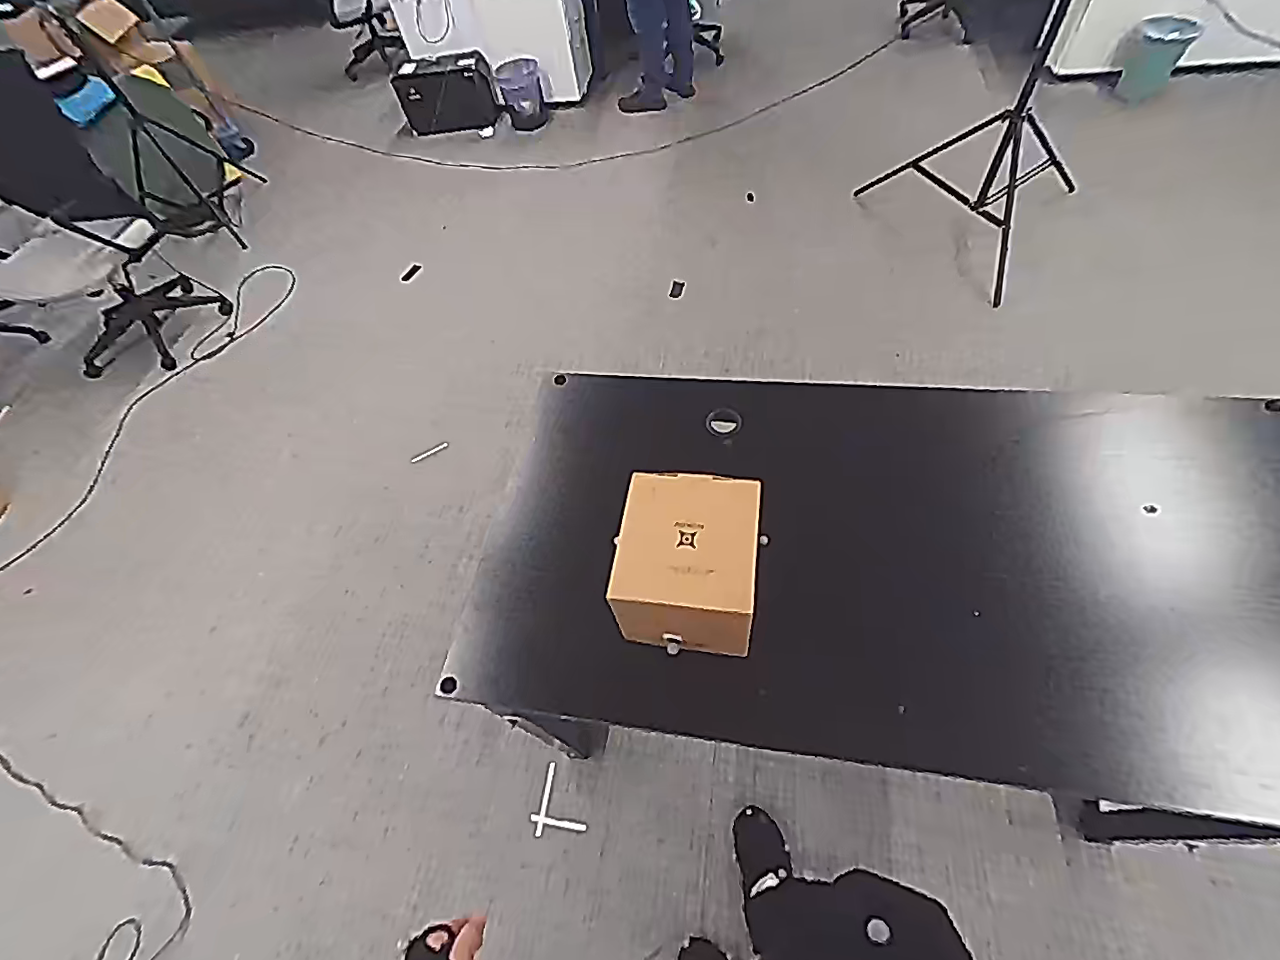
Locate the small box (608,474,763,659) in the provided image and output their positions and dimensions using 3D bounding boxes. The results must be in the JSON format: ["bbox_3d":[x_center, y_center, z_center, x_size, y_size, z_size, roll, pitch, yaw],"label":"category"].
[{"bbox_3d":[0.066,0.113,0.700,0.168,0.176,0.179,4,57,11],"label":"small box"}]
